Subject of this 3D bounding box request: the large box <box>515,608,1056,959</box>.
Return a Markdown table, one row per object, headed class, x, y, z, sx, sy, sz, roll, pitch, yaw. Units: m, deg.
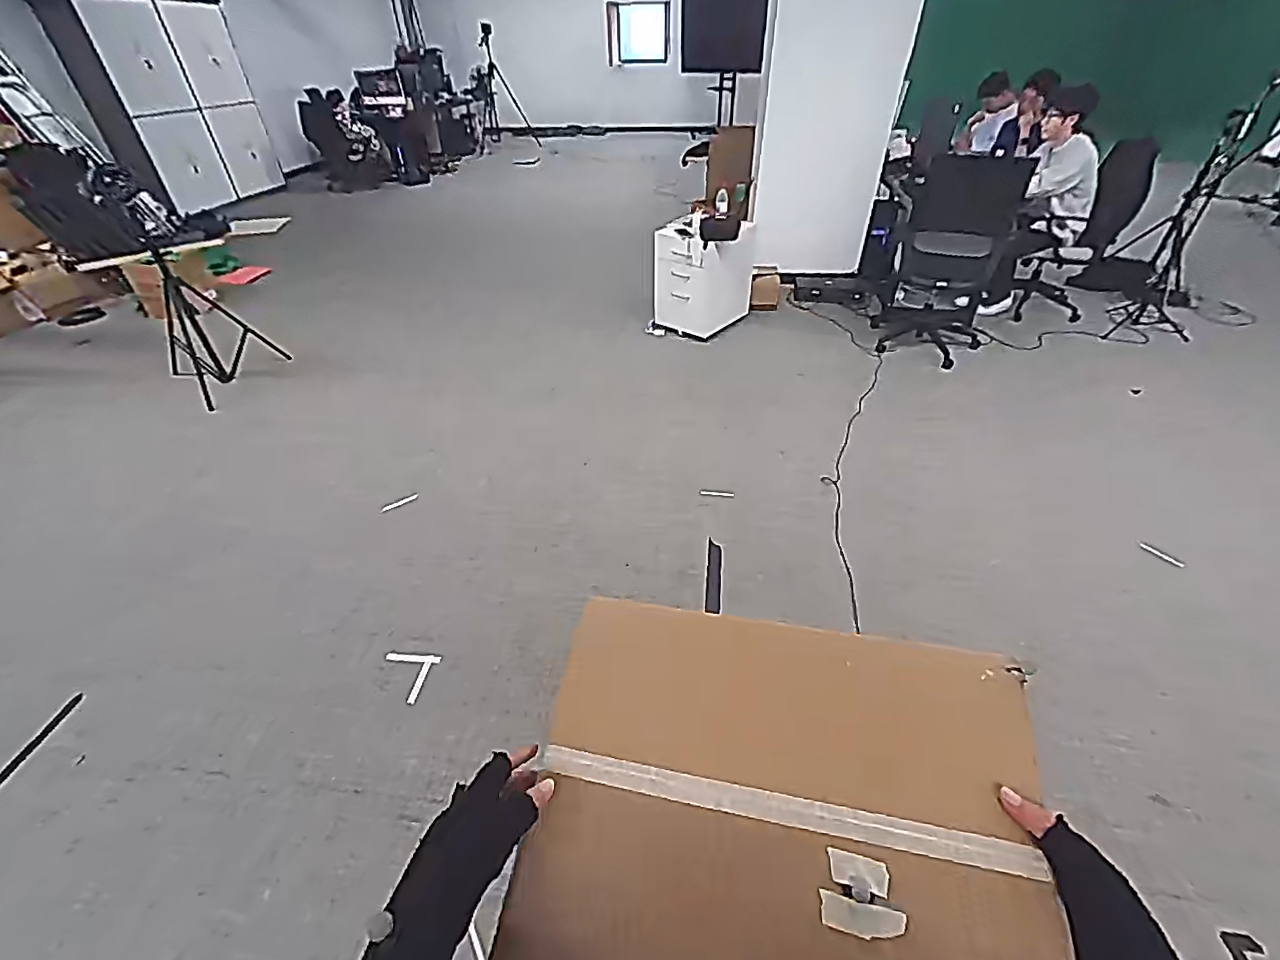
| class | x | y | z | sx | sy | sz | roll | pitch | yaw |
| --- | --- | --- | --- | --- | --- | --- | --- | --- | --- |
| large box | 0.141 | 0.362 | 0.586 | 0.408 | 0.320 | 0.320 | 4 | 57 | 15 |
